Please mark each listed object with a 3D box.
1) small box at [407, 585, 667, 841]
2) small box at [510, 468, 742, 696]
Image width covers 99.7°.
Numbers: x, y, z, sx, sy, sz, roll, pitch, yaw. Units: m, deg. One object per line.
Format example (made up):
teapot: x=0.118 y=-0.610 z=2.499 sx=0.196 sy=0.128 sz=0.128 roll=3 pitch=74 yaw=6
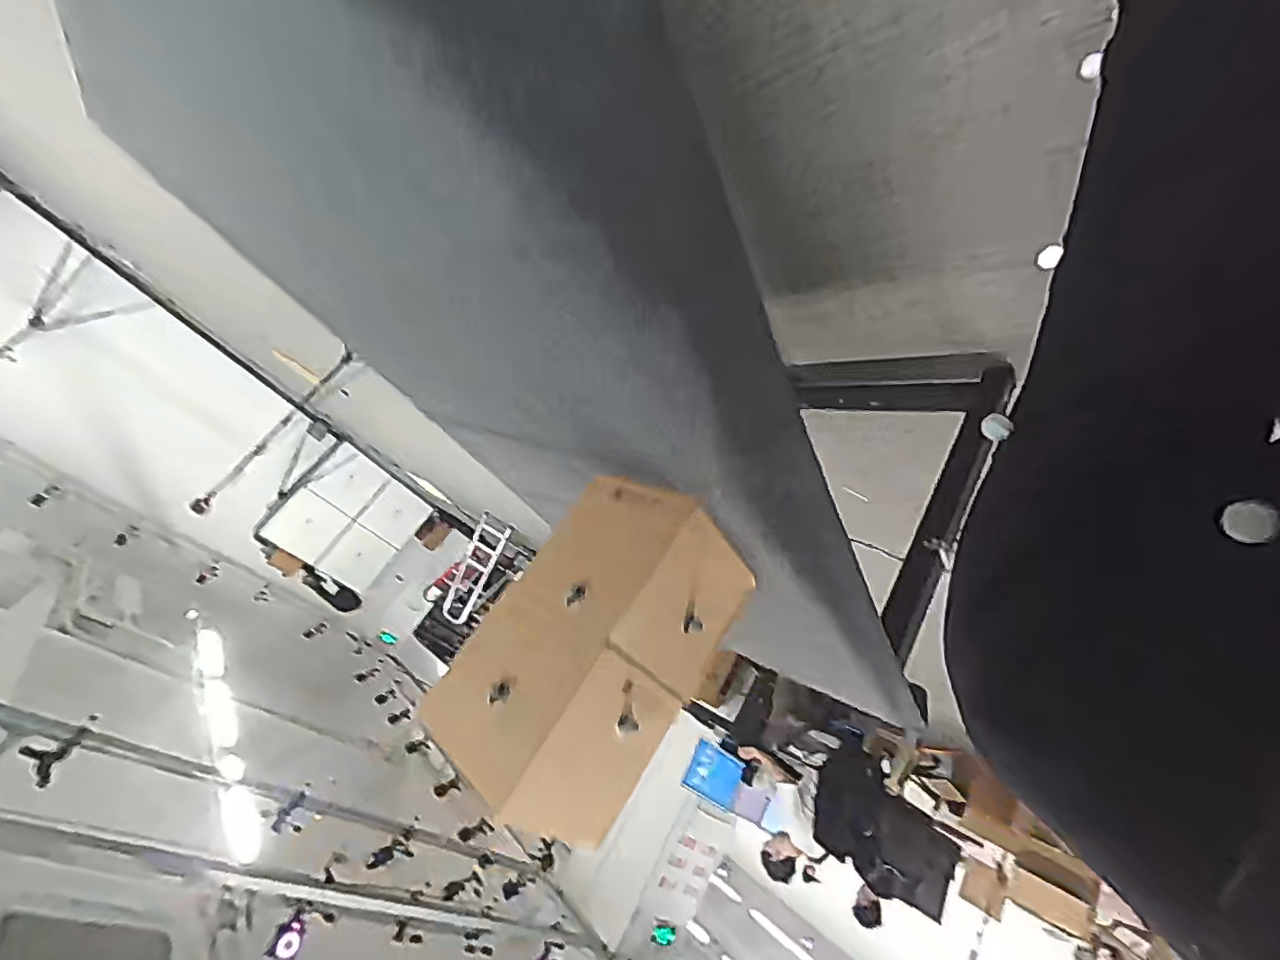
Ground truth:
small box: x=-0.104 y=0.236 z=0.582 sx=0.179 sy=0.176 sz=0.168 roll=15 pitch=152 yaw=44
small box: x=-0.008 y=0.113 z=0.633 sx=0.168 sy=0.176 sz=0.179 roll=15 pitch=152 yaw=45
